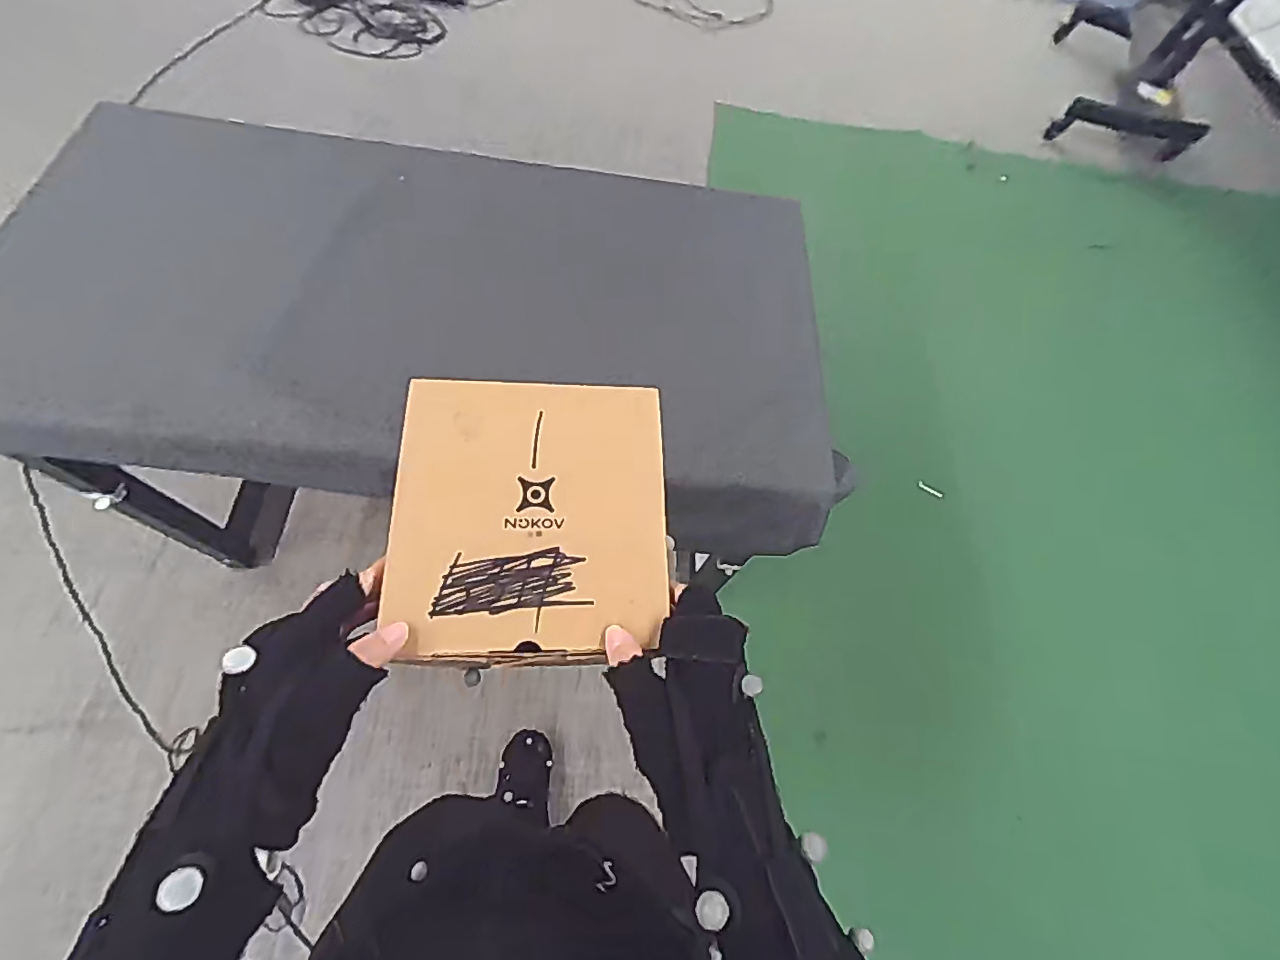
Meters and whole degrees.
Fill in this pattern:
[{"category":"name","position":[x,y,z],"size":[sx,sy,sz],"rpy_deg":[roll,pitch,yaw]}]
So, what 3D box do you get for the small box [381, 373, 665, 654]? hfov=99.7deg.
[{"category":"small box","position":[-0.075,0.040,0.413],"size":[0.168,0.176,0.179],"rpy_deg":[1,69,-7]}]
